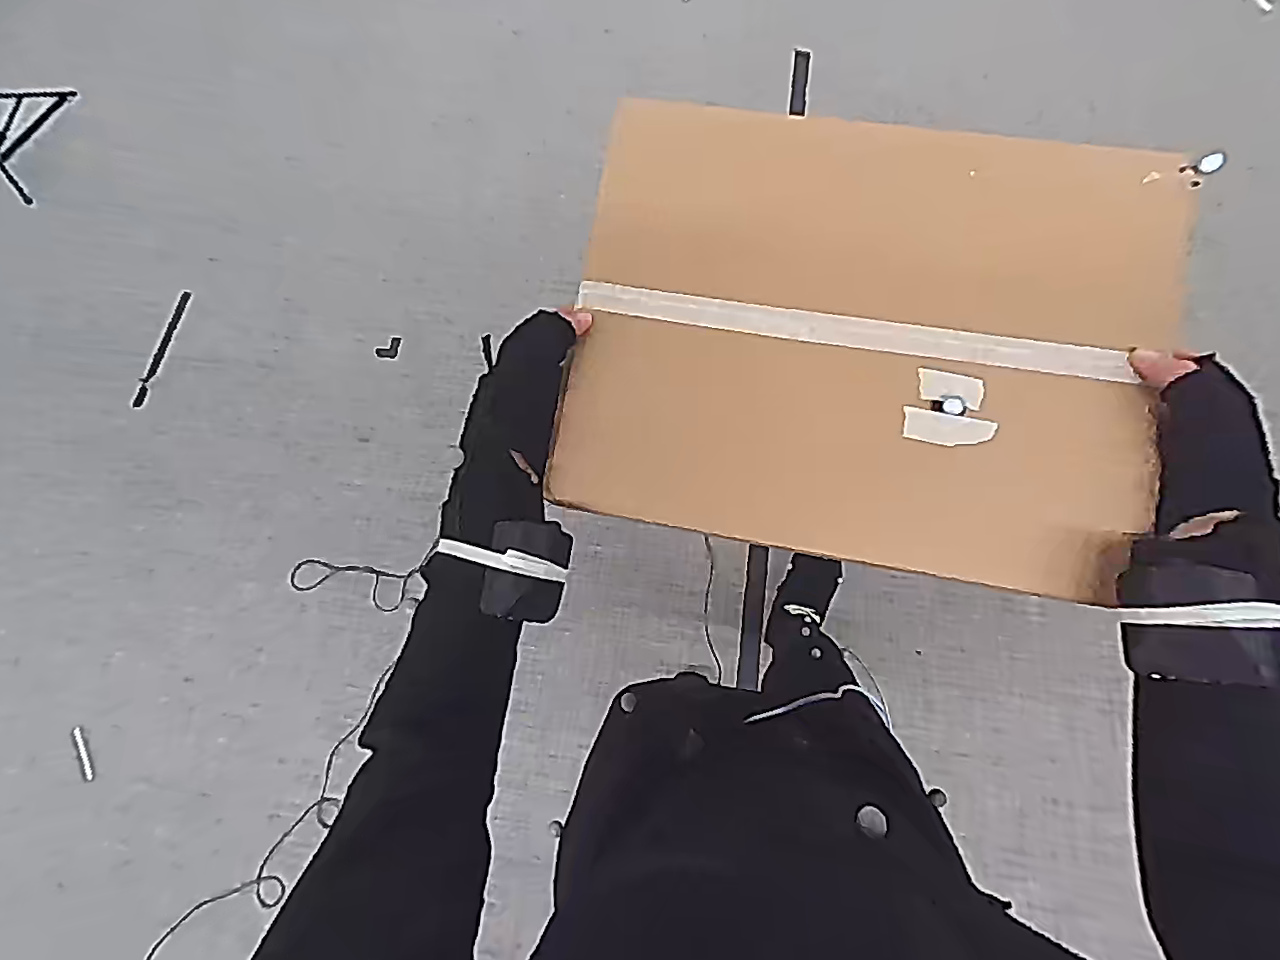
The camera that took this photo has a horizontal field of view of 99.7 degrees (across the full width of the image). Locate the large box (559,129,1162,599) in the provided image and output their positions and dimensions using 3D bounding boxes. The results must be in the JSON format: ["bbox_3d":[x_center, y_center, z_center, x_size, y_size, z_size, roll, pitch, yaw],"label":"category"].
[{"bbox_3d":[0.166,-0.085,0.543,0.408,0.320,0.320,10,87,6],"label":"large box"}]
